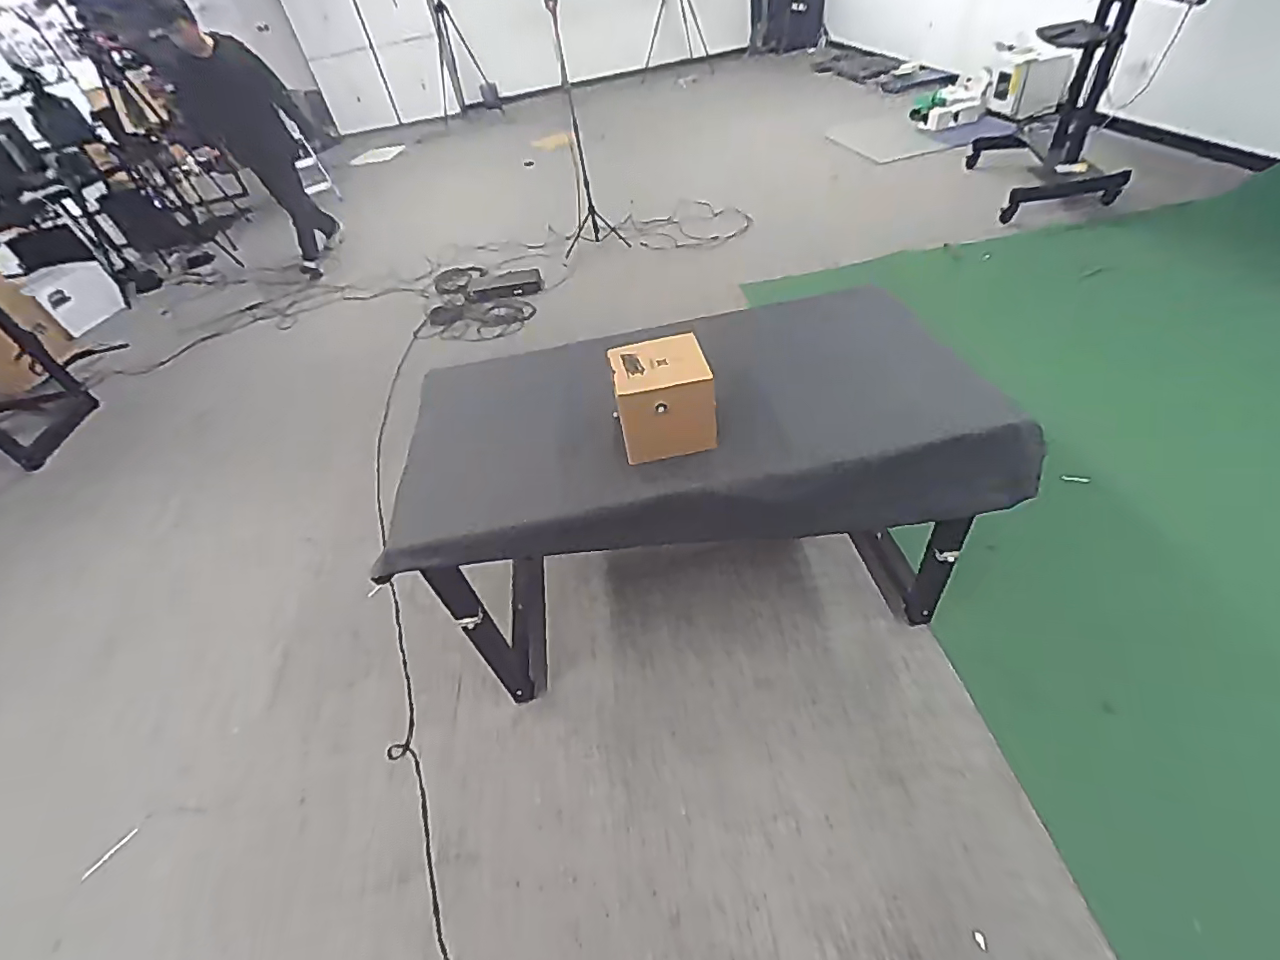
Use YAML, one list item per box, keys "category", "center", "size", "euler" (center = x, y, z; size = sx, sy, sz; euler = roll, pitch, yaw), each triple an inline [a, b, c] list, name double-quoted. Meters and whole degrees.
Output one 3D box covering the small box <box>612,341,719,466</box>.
- category: "small box"
  center: [0.051, -0.147, 1.067]
  size: [0.179, 0.176, 0.168]
  euler: [-11, 43, 0]
